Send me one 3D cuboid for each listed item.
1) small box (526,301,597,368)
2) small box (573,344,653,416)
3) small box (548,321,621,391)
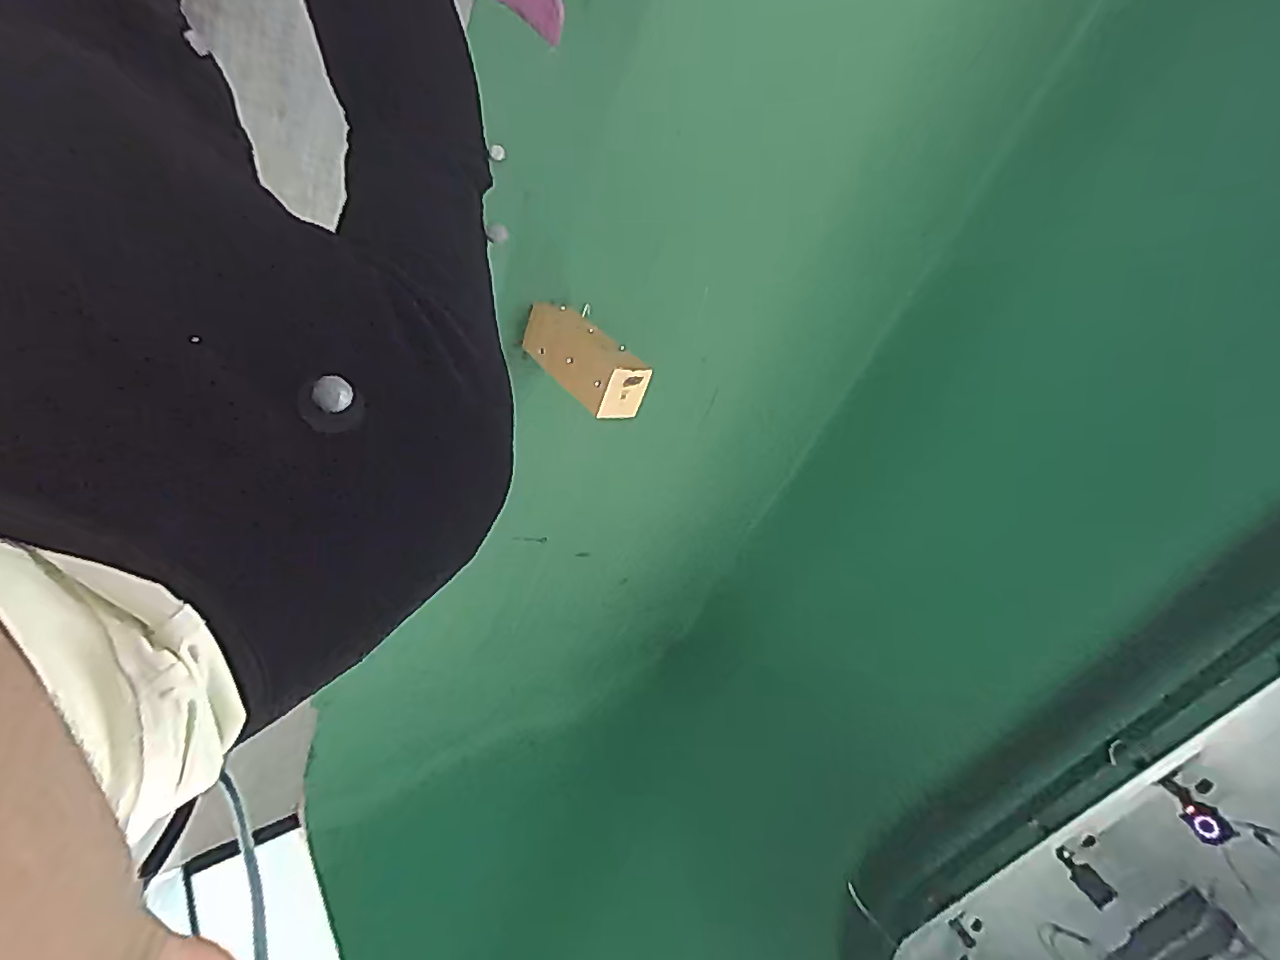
[{"bbox_3d":[-0.286,-0.513,1.922,0.168,0.176,0.179,-8,132,-44],"label":"small box"},{"bbox_3d":[-0.092,-0.323,1.742,0.168,0.176,0.179,-7,132,-42],"label":"small box"},{"bbox_3d":[-0.190,-0.416,1.835,0.168,0.176,0.179,-5,130,-44],"label":"small box"}]
